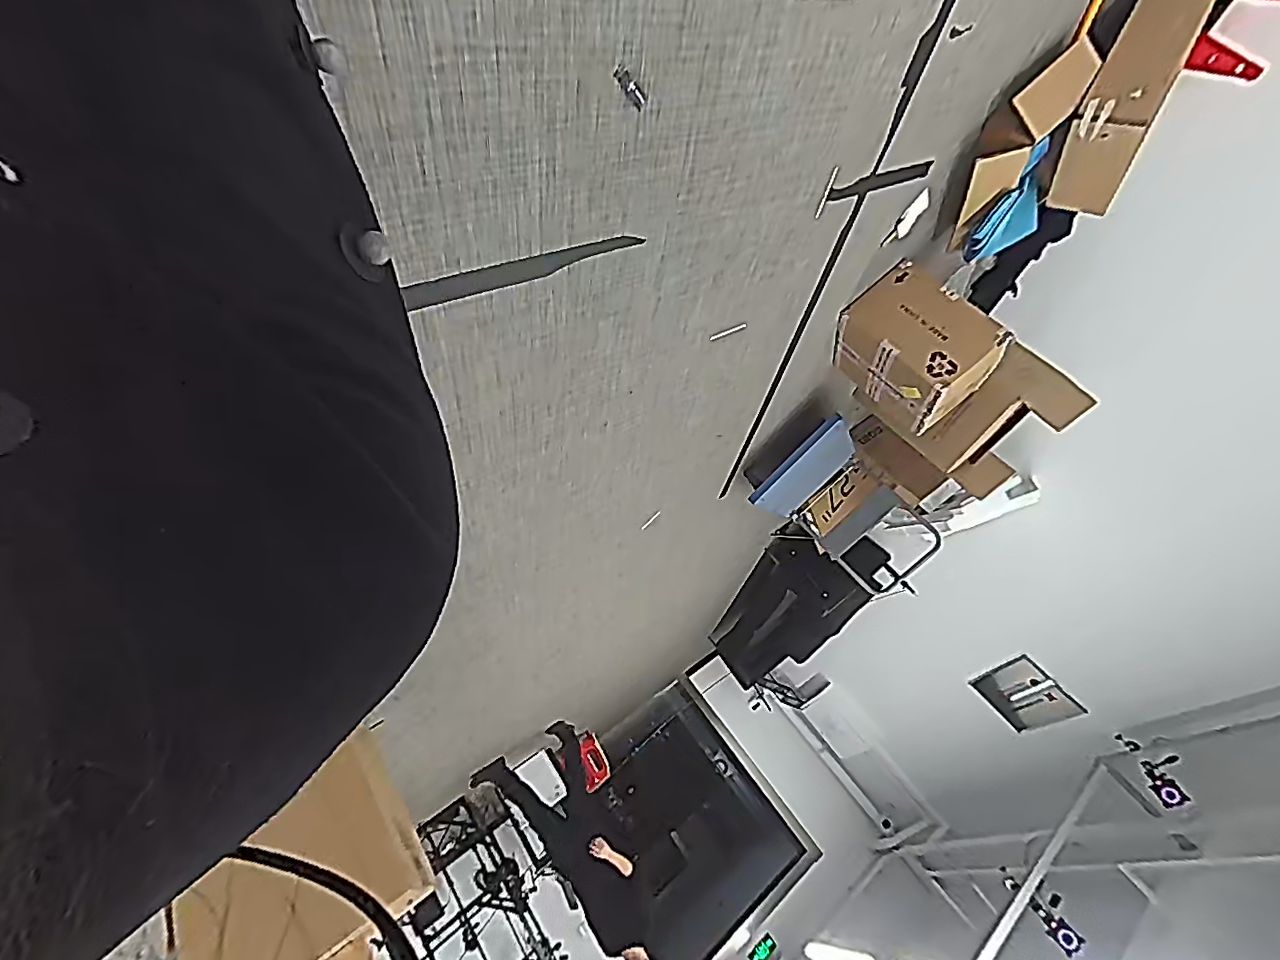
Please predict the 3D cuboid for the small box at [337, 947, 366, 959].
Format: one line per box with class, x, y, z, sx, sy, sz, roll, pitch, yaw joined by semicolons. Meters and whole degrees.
small box;-0.813;1.397;1.440;0.168;0.176;0.179;-28;154;-29
